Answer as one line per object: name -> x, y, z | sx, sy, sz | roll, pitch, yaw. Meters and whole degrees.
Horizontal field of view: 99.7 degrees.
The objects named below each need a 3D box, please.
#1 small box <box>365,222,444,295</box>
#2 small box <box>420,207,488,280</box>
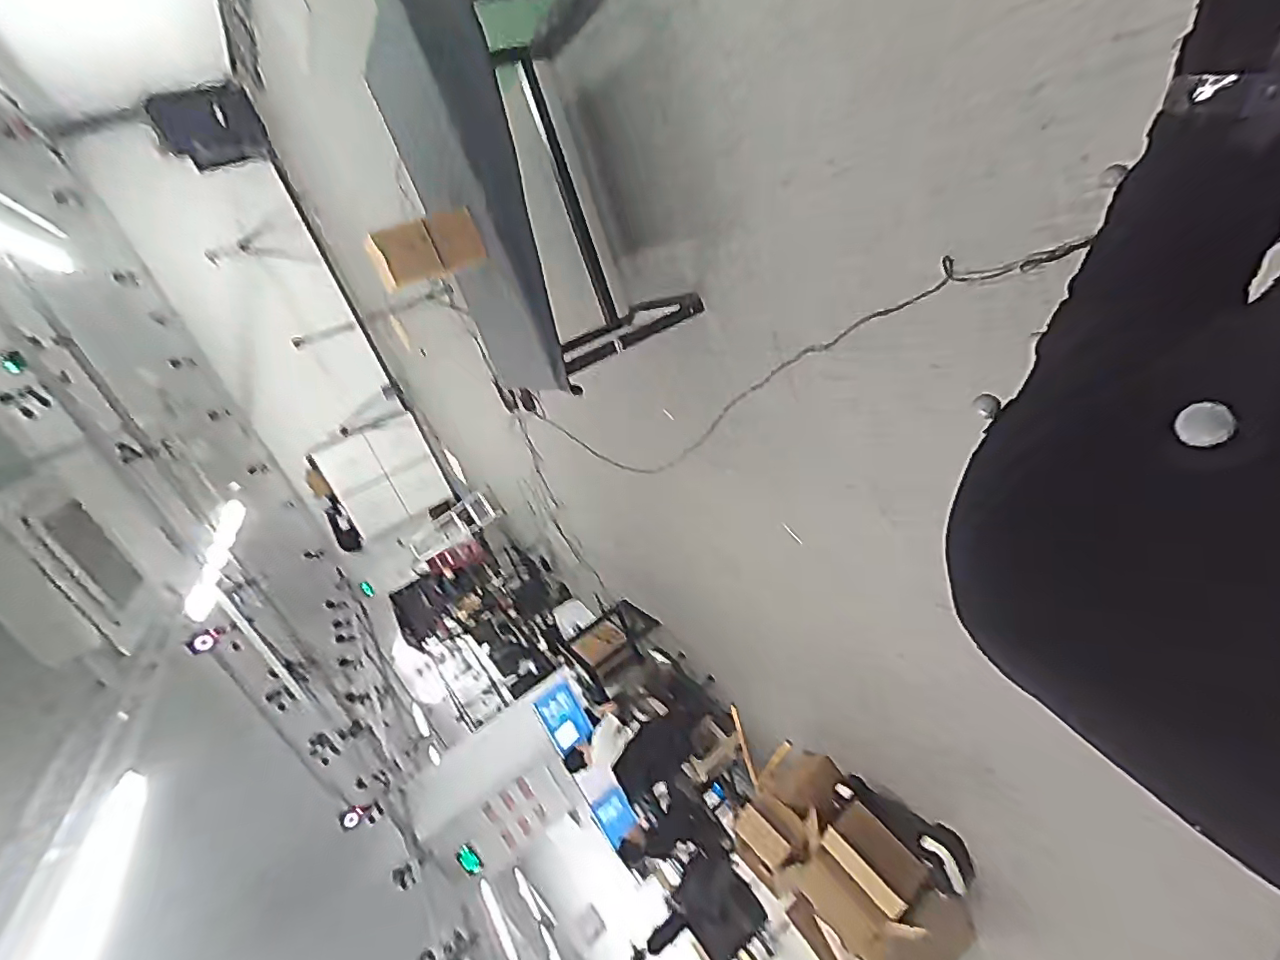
small box -> -0.766, -0.725, 1.769 | 0.179, 0.176, 0.168 | 15, 131, 56
small box -> -0.641, -0.803, 1.841 | 0.168, 0.176, 0.179 | 16, 130, 56
